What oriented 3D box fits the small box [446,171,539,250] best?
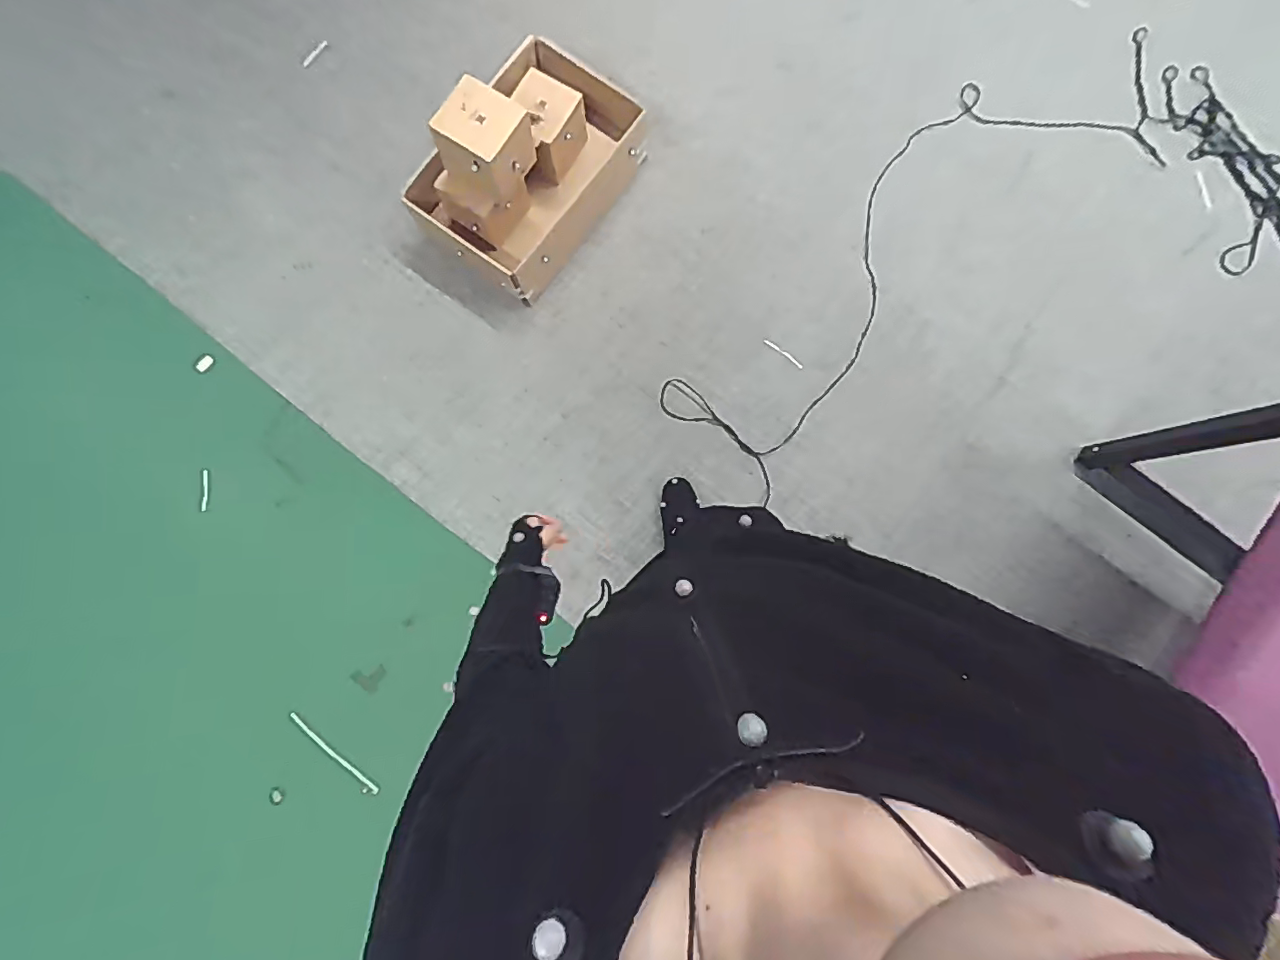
[{"bbox_3d":[-0.403,-0.788,1.517,0.168,0.176,0.179,33,83,3],"label":"small box"}]

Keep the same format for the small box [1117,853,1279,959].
[{"bbox_3d":[0.734,0.606,0.642,0.168,0.176,0.179,37,84,6],"label":"small box"}]

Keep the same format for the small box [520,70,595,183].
[{"bbox_3d":[-0.240,-0.995,1.539,0.168,0.176,0.179,29,85,3],"label":"small box"}]

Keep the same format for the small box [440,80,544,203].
[{"bbox_3d":[-0.360,-0.837,1.359,0.179,0.176,0.168,31,82,3],"label":"small box"}]
